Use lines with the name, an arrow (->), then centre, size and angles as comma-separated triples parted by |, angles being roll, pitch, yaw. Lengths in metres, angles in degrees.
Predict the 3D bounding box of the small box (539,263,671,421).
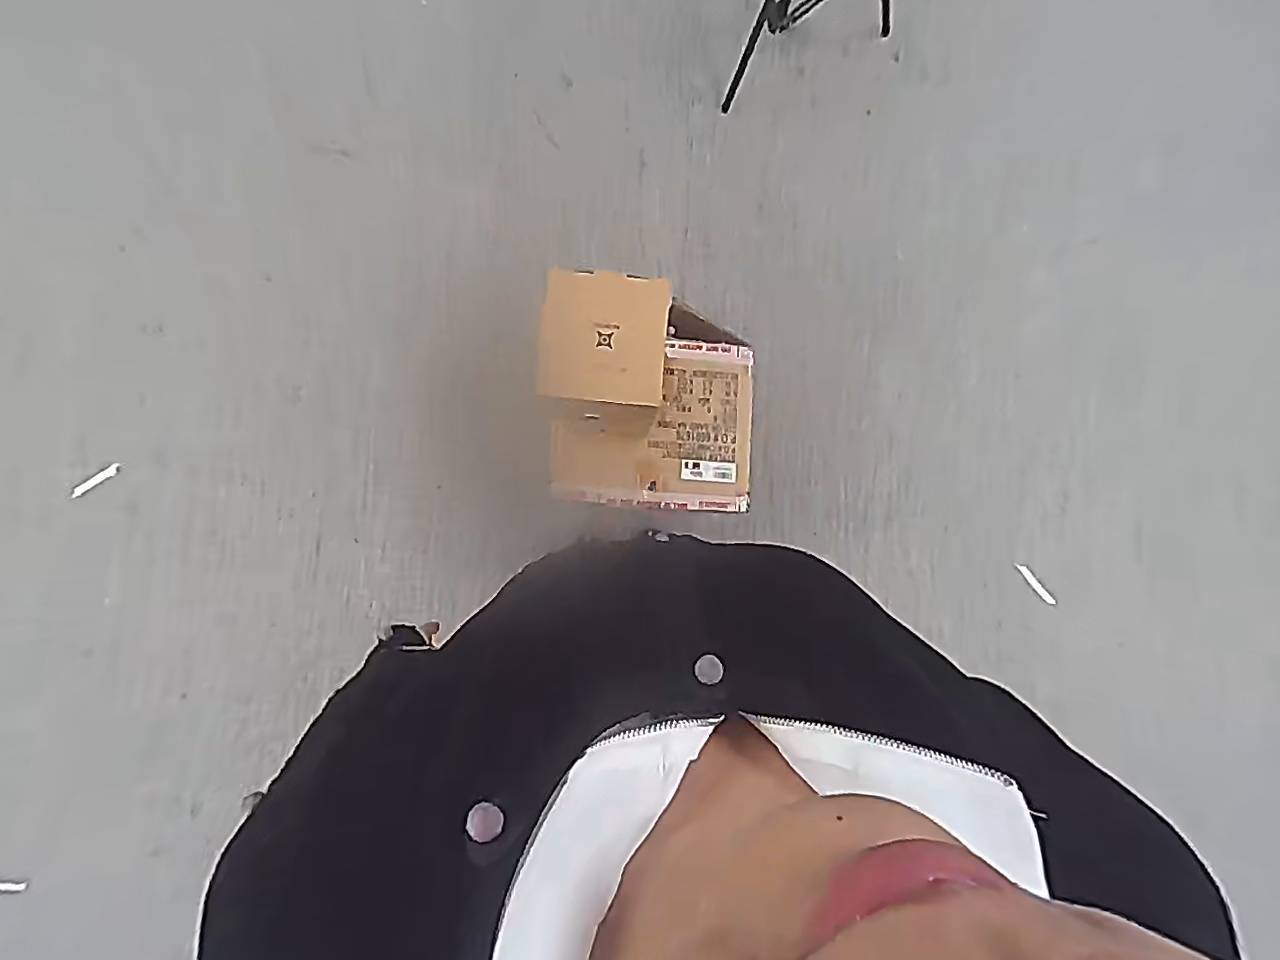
small box -> -0.049, -0.193, 0.798 | 0.168, 0.176, 0.179 | 4, 88, -1

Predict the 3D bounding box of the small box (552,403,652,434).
small box -> -0.059, -0.185, 0.960 | 0.168, 0.176, 0.179 | 4, 87, -2
